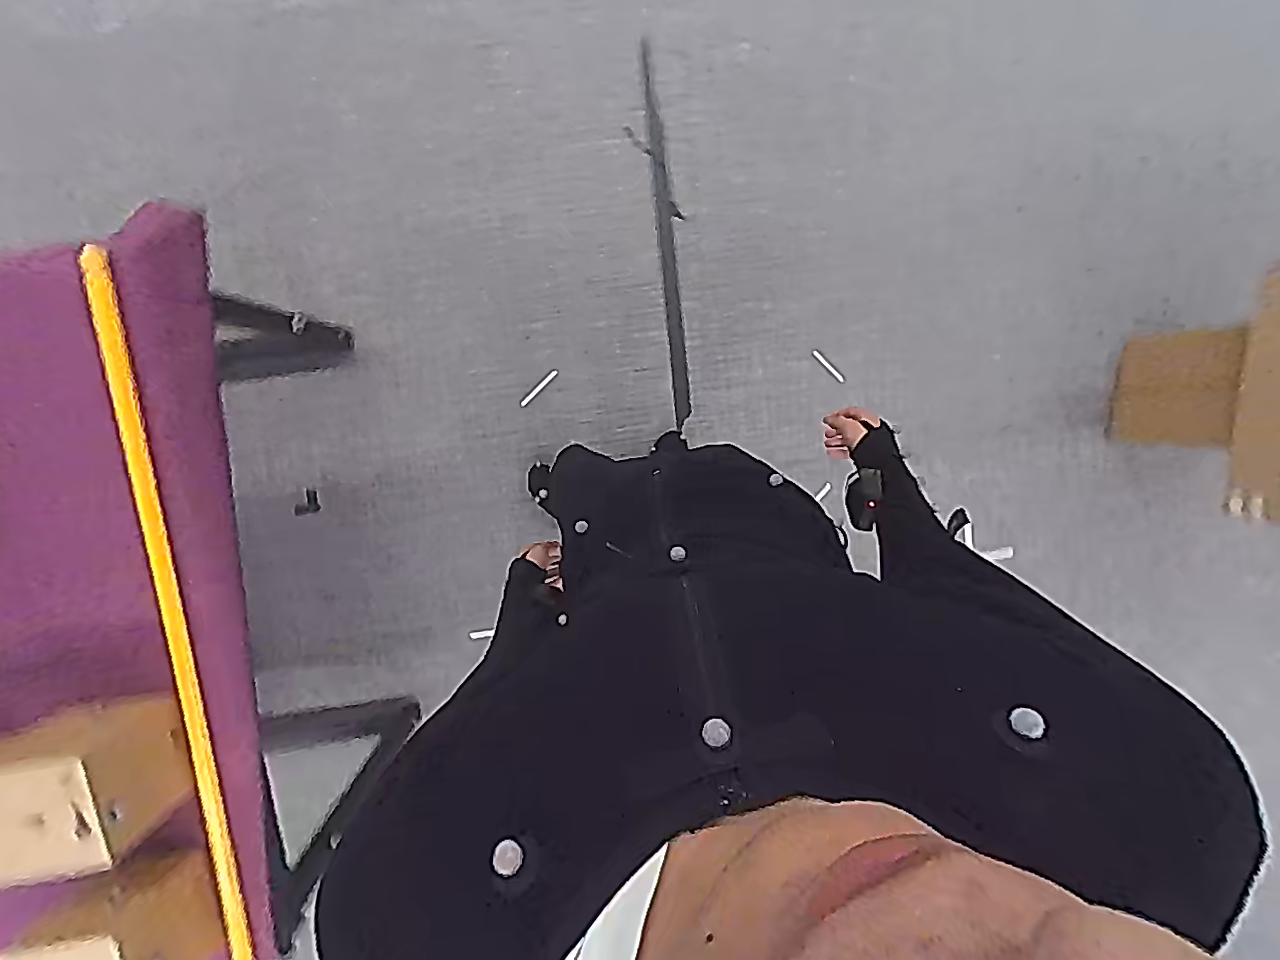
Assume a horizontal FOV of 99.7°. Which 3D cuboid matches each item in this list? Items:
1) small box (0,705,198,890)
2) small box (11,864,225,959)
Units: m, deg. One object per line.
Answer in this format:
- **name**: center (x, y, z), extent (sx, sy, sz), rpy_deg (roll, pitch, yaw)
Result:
- **small box**: center (-0.828, 0.465, 0.813), extent (0.179, 0.176, 0.168), rpy_deg (-8, 98, -1)
- **small box**: center (-0.805, 0.743, 0.847), extent (0.168, 0.176, 0.179), rpy_deg (-10, 96, -1)
